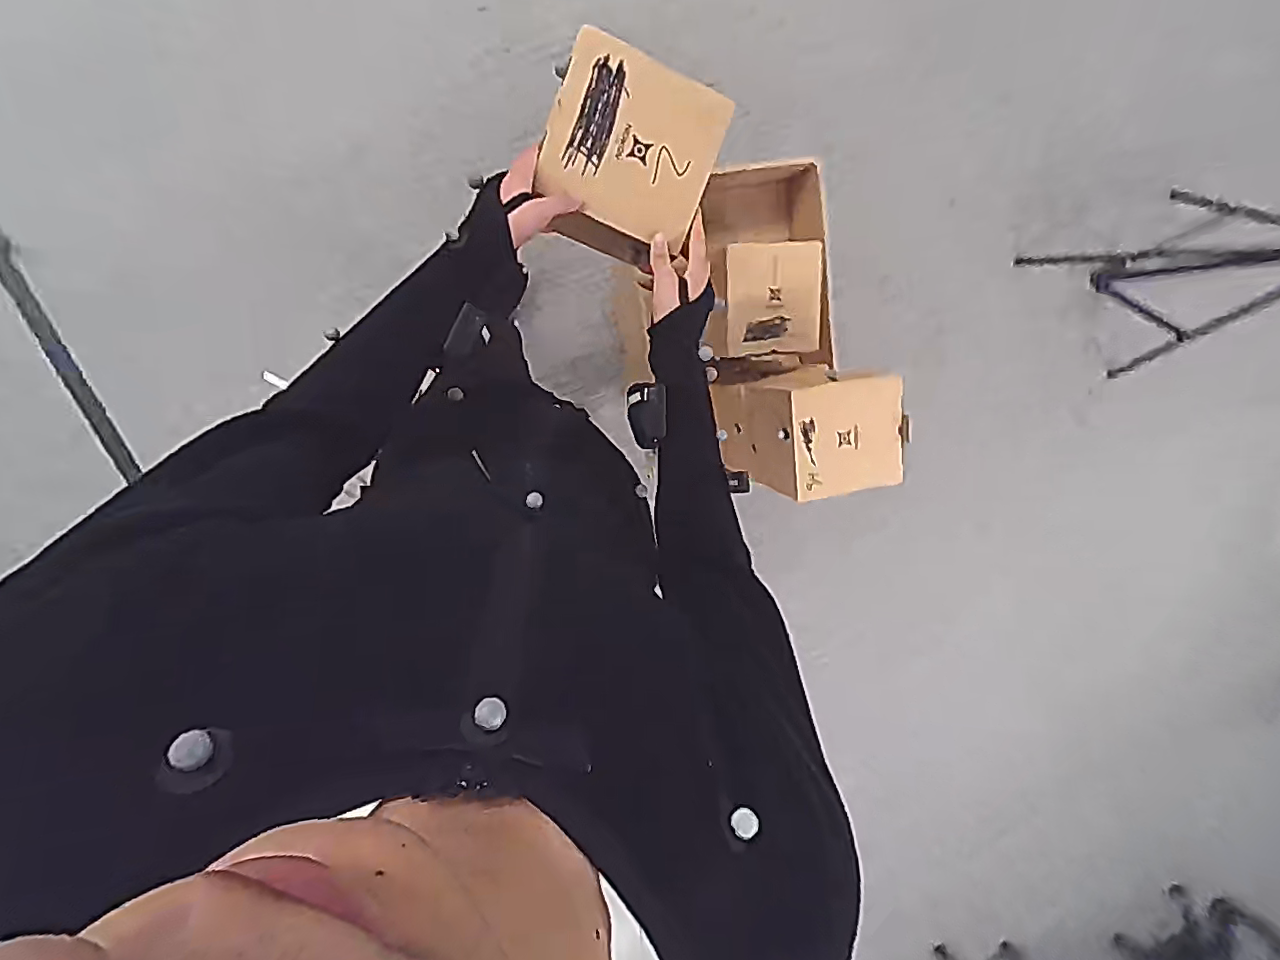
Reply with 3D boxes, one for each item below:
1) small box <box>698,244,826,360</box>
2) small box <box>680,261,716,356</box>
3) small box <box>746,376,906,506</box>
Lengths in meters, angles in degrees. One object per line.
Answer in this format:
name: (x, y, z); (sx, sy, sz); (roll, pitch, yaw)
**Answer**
small box: (0.204, -0.307, 0.945); (0.168, 0.176, 0.179); (-5, 105, -10)
small box: (0.186, -0.356, 1.101); (0.168, 0.176, 0.179); (-10, 107, -9)
small box: (0.283, -0.070, 0.843); (0.179, 0.176, 0.168); (-9, 103, -10)
